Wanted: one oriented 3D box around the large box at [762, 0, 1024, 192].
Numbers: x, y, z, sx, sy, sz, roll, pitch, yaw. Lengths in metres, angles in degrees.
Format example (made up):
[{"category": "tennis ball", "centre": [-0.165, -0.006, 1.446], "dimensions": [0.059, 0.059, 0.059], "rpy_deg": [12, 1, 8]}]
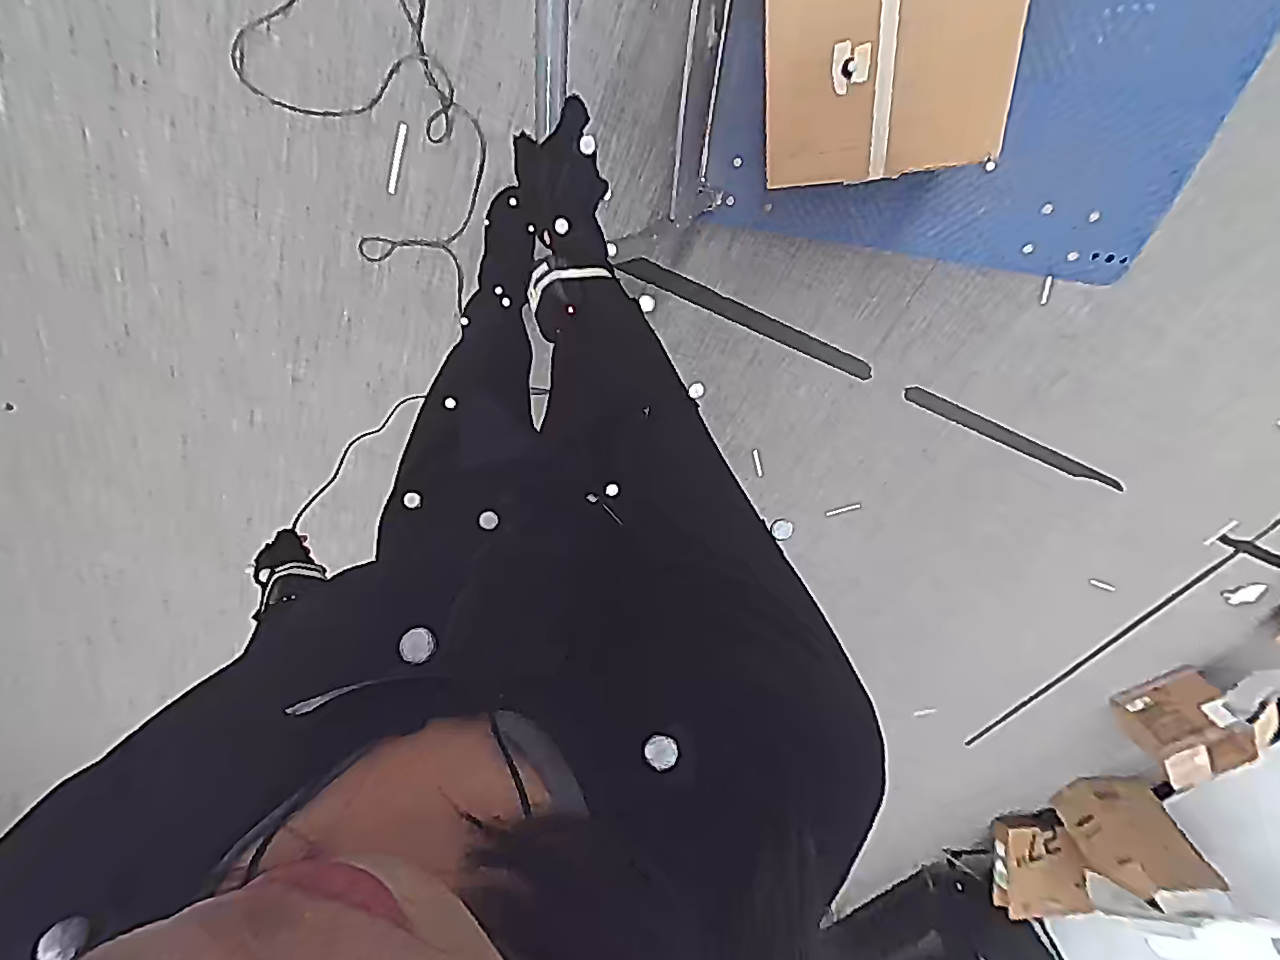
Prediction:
[{"category": "large box", "centre": [0.353, -0.693, 0.804], "dimensions": [0.320, 0.320, 0.408], "rpy_deg": [1, 124, 18]}]
